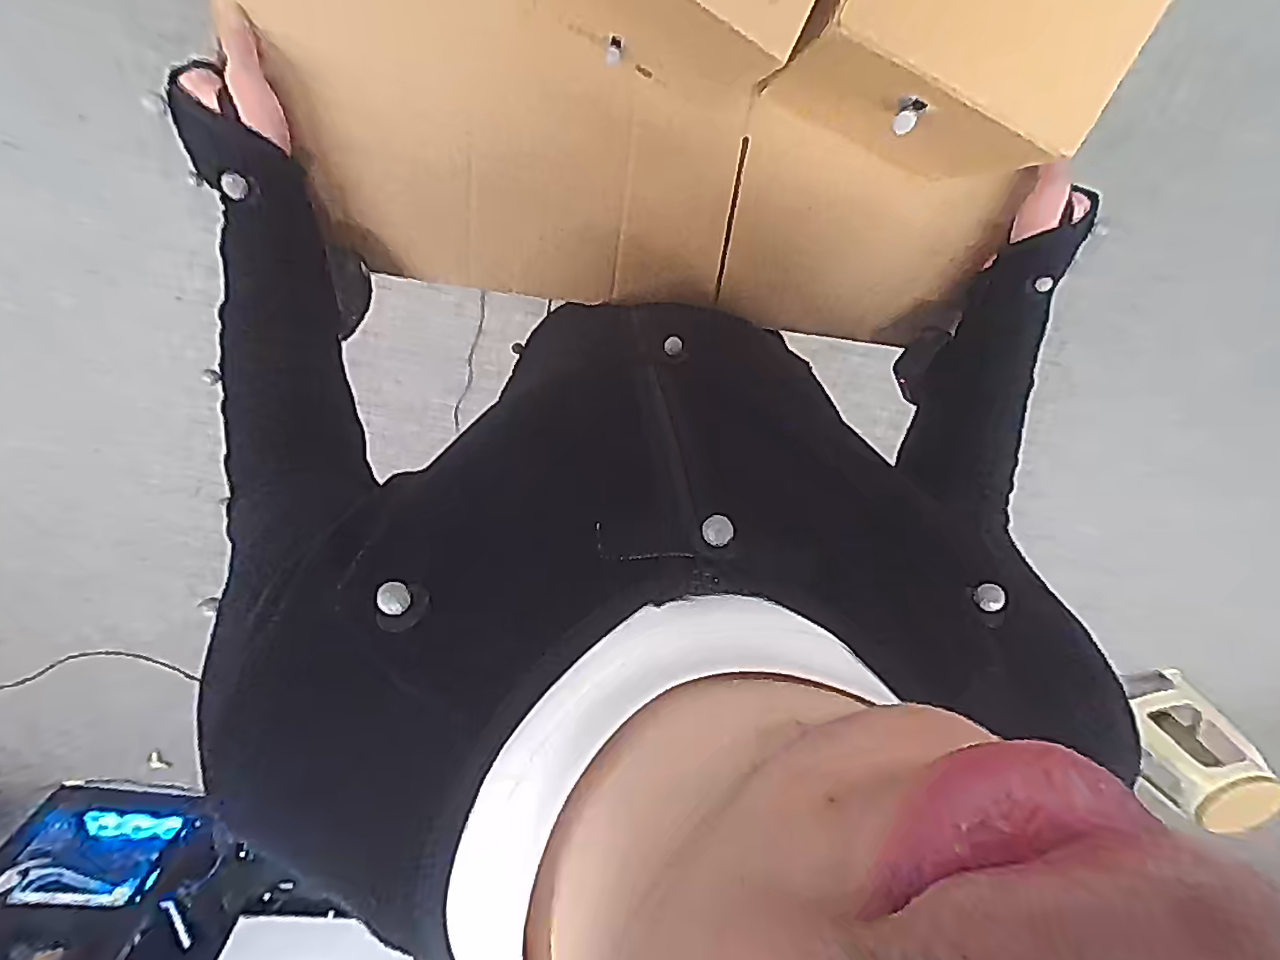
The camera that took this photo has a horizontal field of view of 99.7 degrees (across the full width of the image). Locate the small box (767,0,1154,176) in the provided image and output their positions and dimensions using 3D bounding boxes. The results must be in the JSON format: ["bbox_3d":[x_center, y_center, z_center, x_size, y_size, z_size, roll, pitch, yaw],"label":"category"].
[{"bbox_3d":[0.217,-0.335,0.379,0.179,0.176,0.168,20,111,-11],"label":"small box"}]
